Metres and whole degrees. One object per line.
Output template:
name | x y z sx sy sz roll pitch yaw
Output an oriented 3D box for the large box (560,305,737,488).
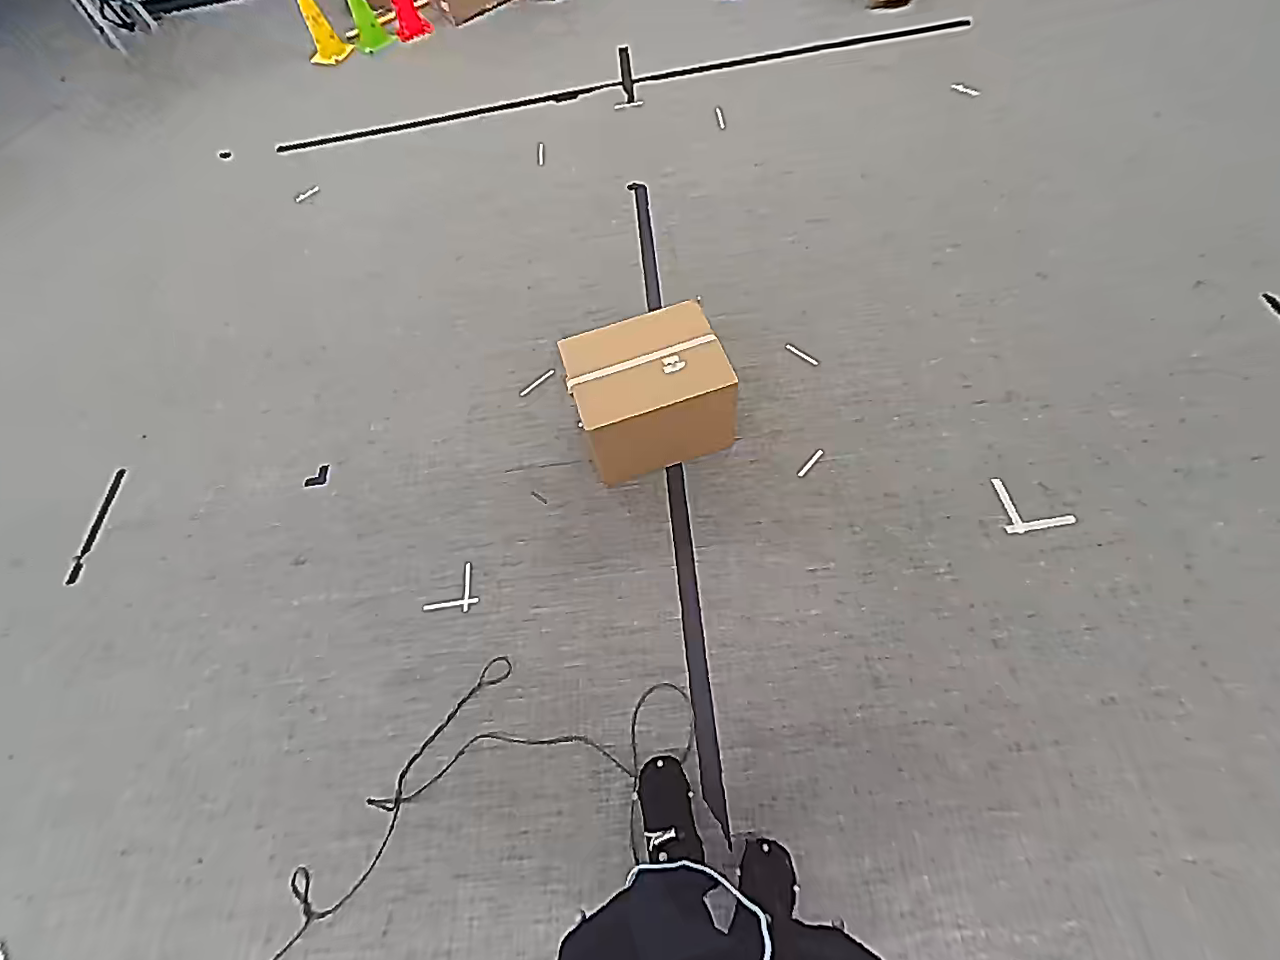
large box | 0.027 -0.227 1.538 0.408 0.320 0.320 -18 62 -3
